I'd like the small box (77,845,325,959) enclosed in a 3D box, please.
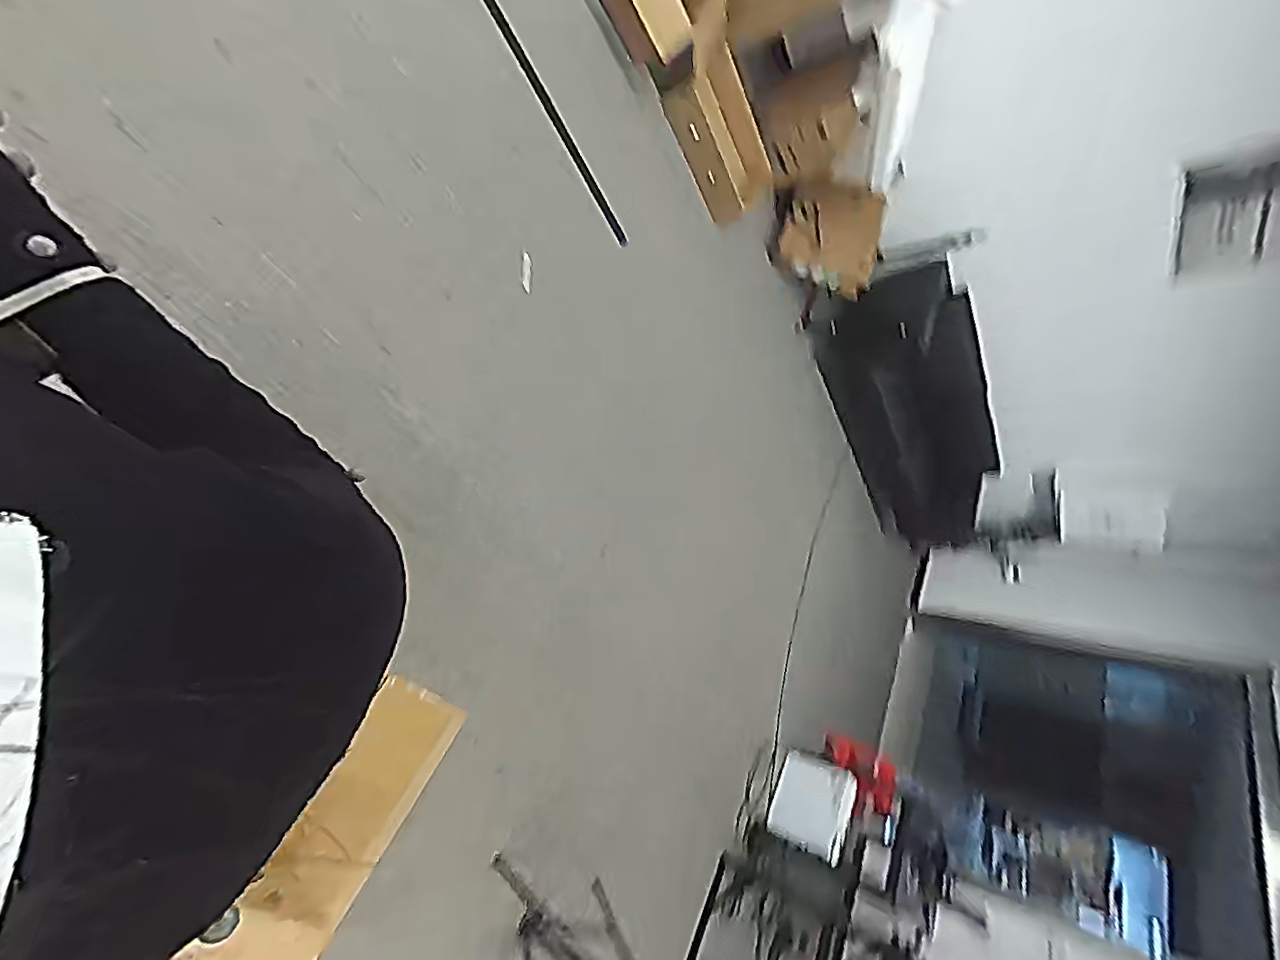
[{"bbox_3d":[-0.547,0.593,0.671,0.179,0.176,0.168,53,53,-33],"label":"small box"}]
